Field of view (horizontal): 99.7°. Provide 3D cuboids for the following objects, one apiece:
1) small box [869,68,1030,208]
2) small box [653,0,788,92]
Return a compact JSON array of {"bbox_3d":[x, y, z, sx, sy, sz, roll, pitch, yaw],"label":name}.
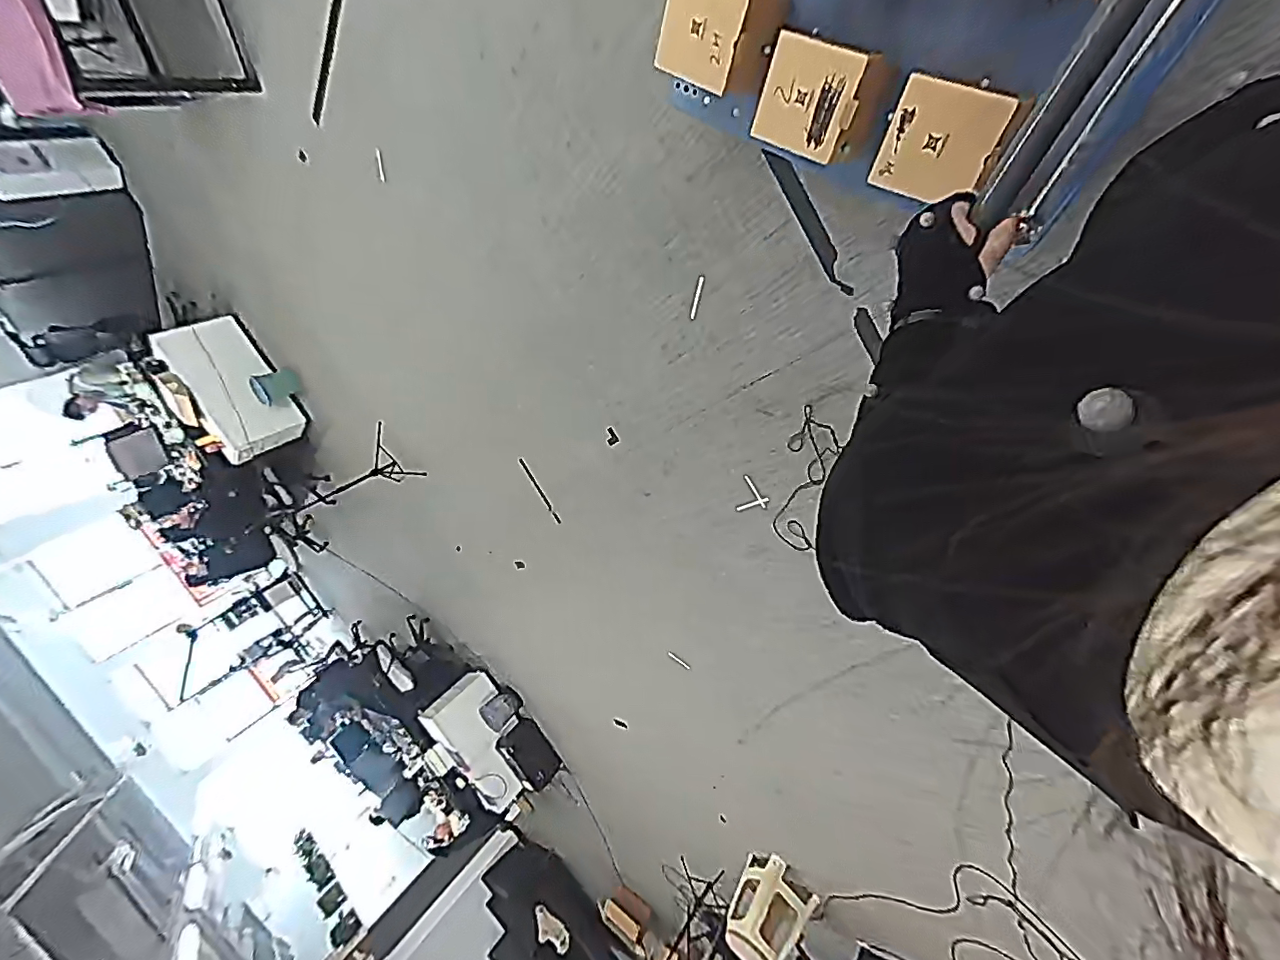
[{"bbox_3d":[0.539,-0.598,0.941,0.179,0.176,0.168,32,135,20],"label":"small box"},{"bbox_3d":[0.158,-0.893,1.069,0.179,0.176,0.168,36,138,16],"label":"small box"}]
